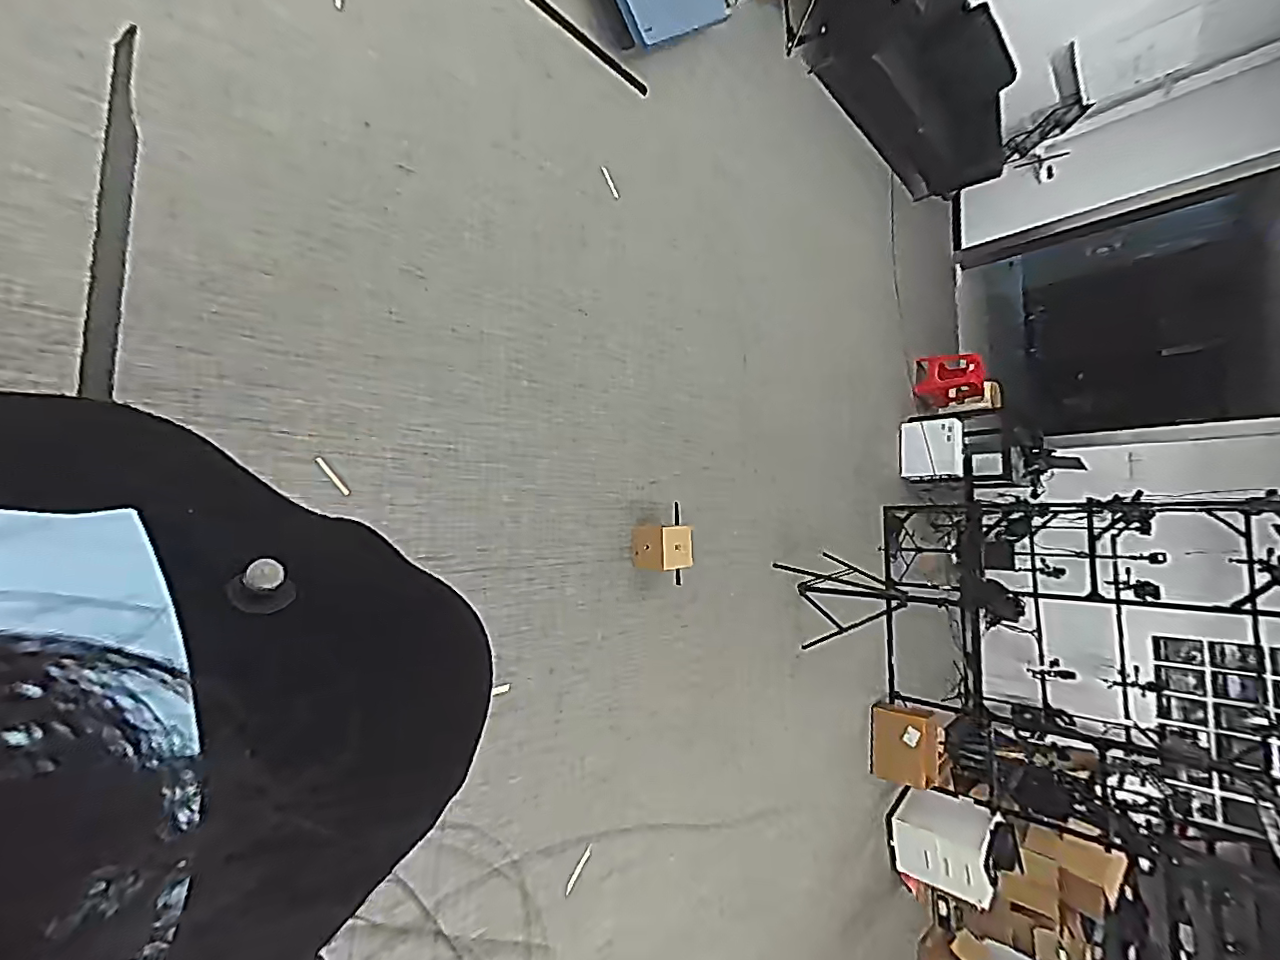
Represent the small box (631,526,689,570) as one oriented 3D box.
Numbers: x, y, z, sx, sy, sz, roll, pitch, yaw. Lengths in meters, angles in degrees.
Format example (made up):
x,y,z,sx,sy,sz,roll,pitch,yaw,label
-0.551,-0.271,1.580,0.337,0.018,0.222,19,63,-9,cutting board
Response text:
x,y,z,sx,sy,sz,roll,pitch,yaw,label
0.078,0.270,2.178,0.179,0.176,0.168,2,86,-47,small box
